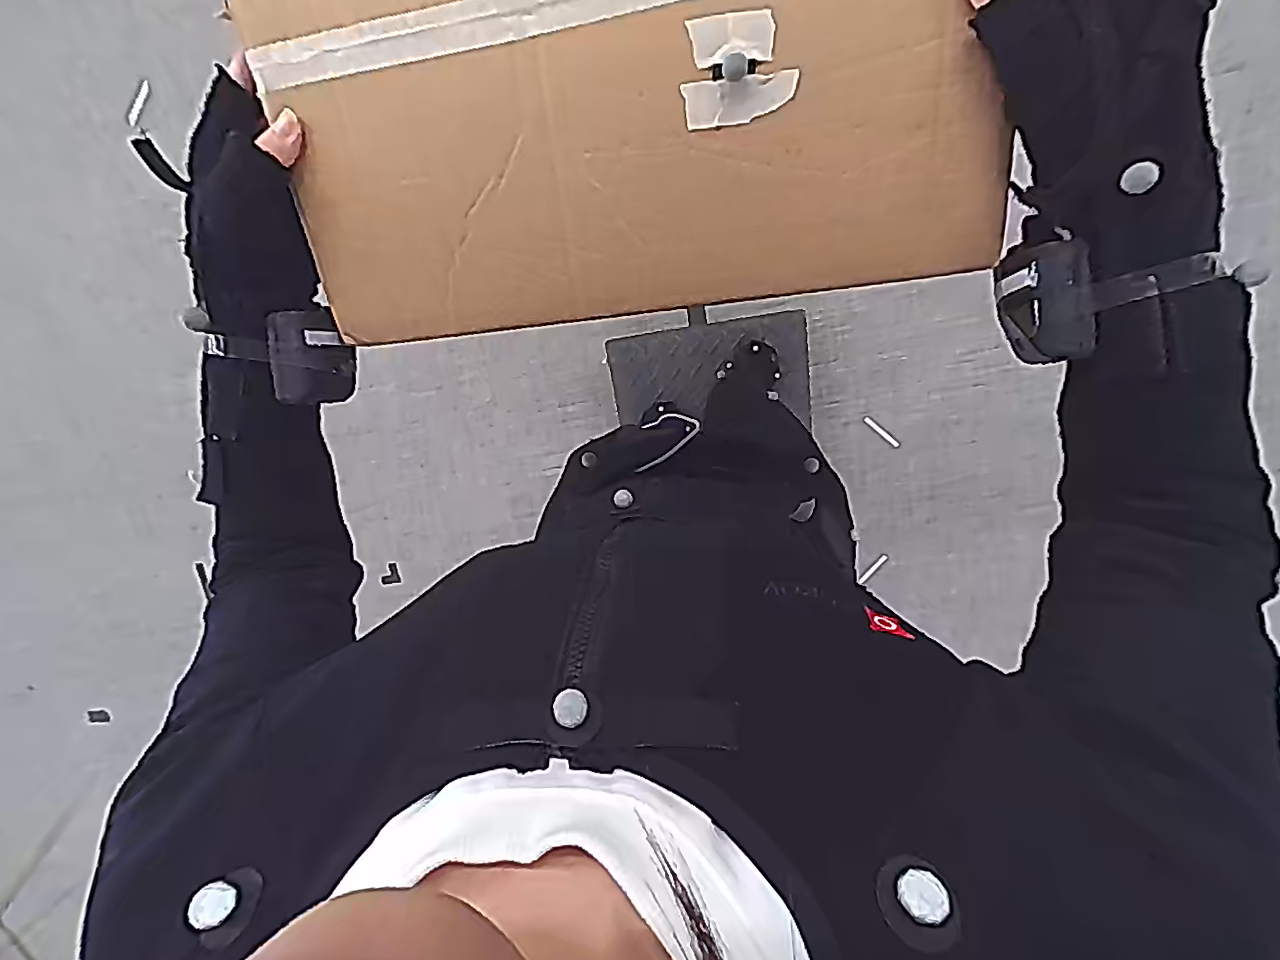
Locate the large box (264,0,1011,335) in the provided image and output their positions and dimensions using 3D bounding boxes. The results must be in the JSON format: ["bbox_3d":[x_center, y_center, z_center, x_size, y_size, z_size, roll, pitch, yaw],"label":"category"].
[{"bbox_3d":[0.001,-0.315,0.423,0.408,0.320,0.320,-5,113,9],"label":"large box"}]
